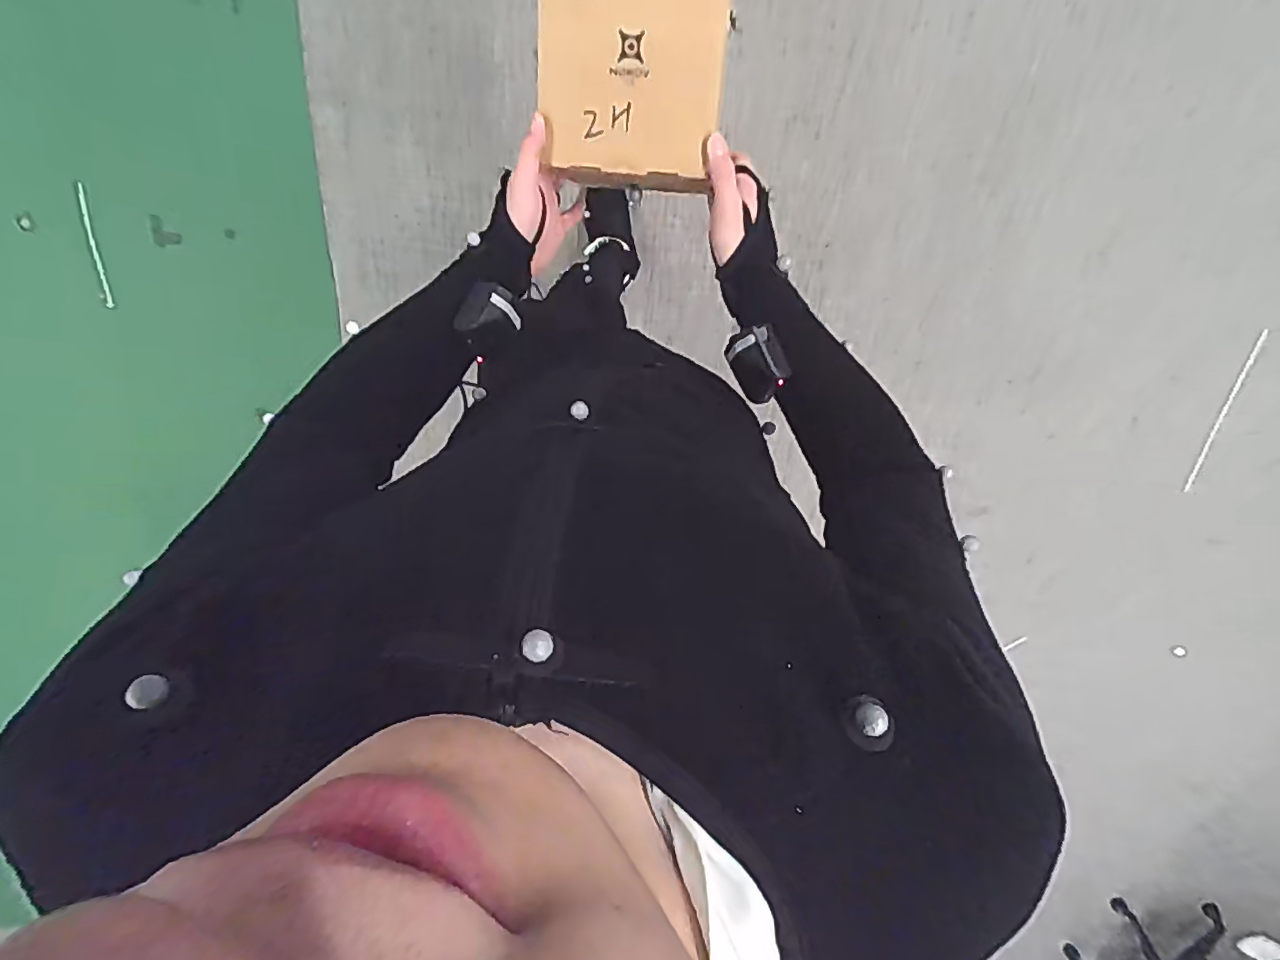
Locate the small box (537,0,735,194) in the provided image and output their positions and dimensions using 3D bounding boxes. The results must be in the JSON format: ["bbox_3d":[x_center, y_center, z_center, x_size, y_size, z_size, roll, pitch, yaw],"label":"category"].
[{"bbox_3d":[0.002,-0.401,0.542,0.168,0.176,0.179,8,113,5],"label":"small box"}]
